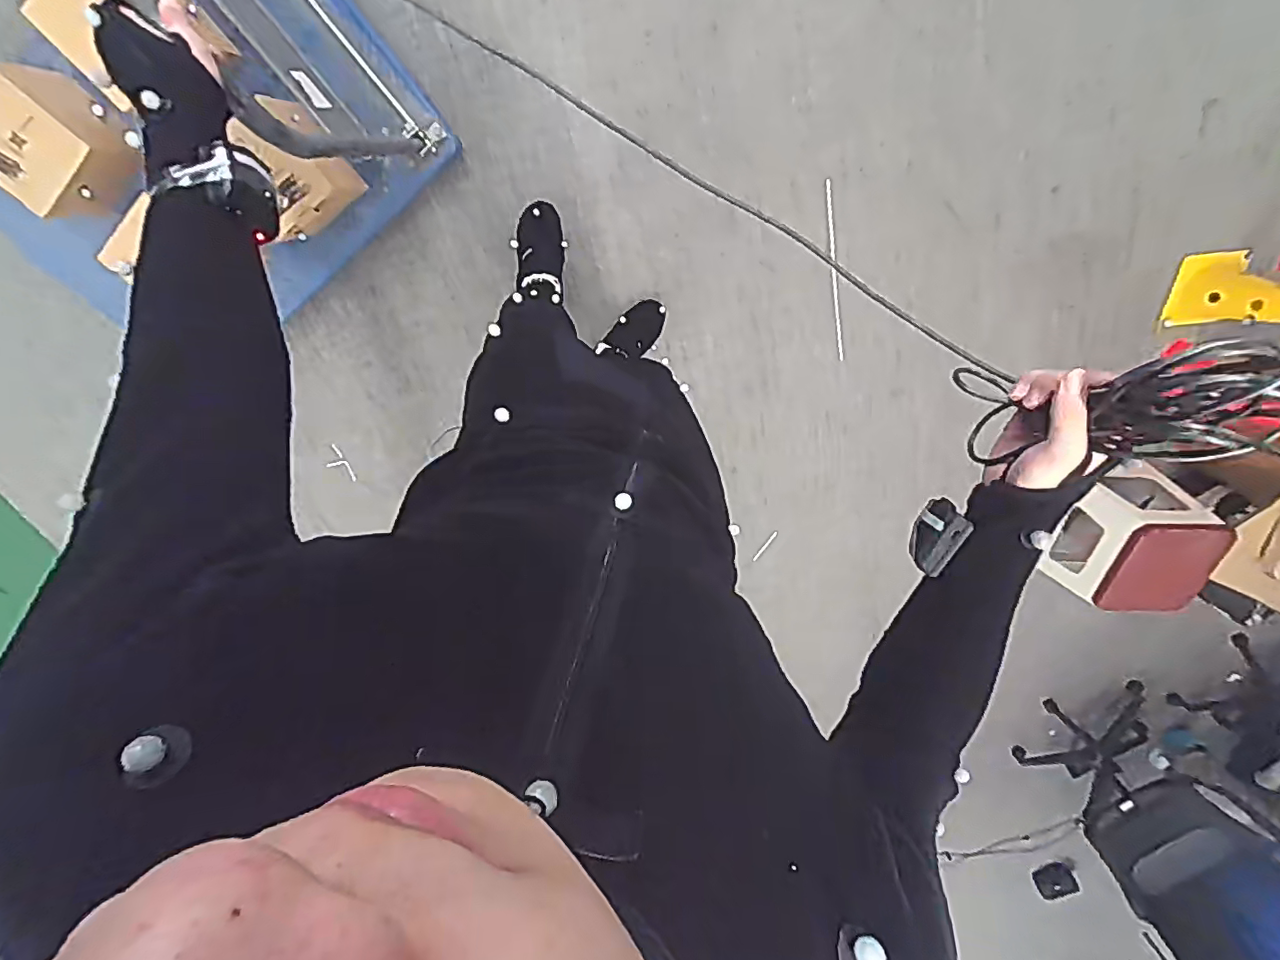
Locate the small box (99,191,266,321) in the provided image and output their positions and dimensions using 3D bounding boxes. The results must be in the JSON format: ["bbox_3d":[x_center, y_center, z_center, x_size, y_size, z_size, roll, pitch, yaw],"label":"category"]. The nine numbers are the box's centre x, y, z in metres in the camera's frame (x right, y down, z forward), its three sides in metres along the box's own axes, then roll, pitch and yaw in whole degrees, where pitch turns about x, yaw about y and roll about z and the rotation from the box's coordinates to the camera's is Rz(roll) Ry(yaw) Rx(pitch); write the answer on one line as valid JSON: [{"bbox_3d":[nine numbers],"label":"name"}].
[{"bbox_3d":[-0.909,-0.460,1.097,0.179,0.176,0.168,-38,116,15],"label":"small box"}]

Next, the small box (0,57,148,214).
[{"bbox_3d":[-1.071,-0.619,0.989,0.179,0.176,0.168,-38,117,14],"label":"small box"}]

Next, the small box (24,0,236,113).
[{"bbox_3d":[-0.854,-0.767,0.928,0.179,0.176,0.168,-34,117,13],"label":"small box"}]
